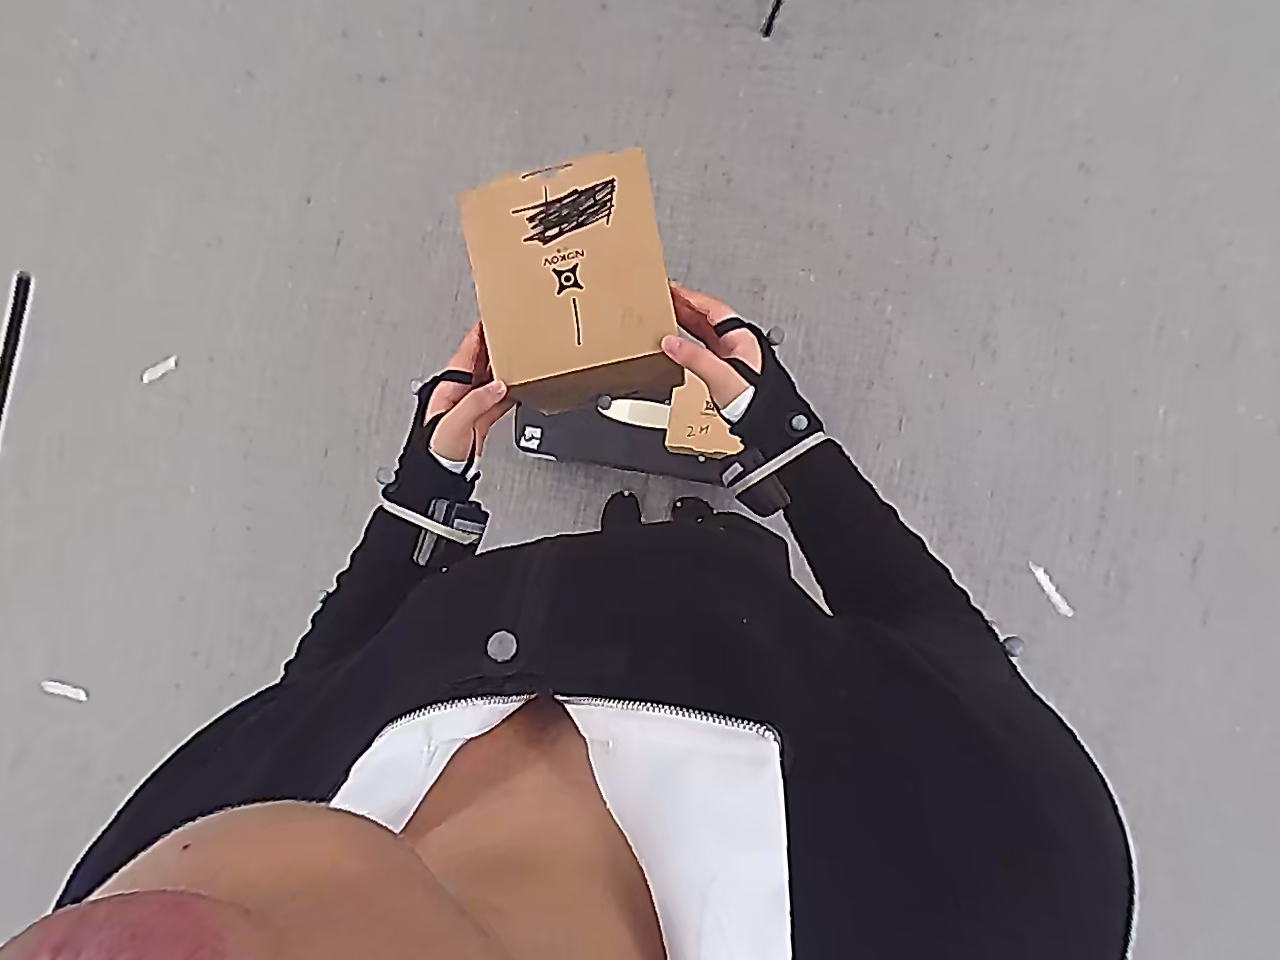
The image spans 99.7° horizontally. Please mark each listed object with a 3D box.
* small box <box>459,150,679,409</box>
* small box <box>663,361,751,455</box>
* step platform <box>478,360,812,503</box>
[{"bbox_3d":[-0.057,-0.182,0.545,0.168,0.176,0.179,-12,89,5],"label":"small box"},{"bbox_3d":[0.149,-0.153,1.220,0.168,0.176,0.179,9,90,6],"label":"small box"},{"bbox_3d":[0.010,-0.139,1.197,0.684,0.204,0.286,10,89,5],"label":"step platform"}]
